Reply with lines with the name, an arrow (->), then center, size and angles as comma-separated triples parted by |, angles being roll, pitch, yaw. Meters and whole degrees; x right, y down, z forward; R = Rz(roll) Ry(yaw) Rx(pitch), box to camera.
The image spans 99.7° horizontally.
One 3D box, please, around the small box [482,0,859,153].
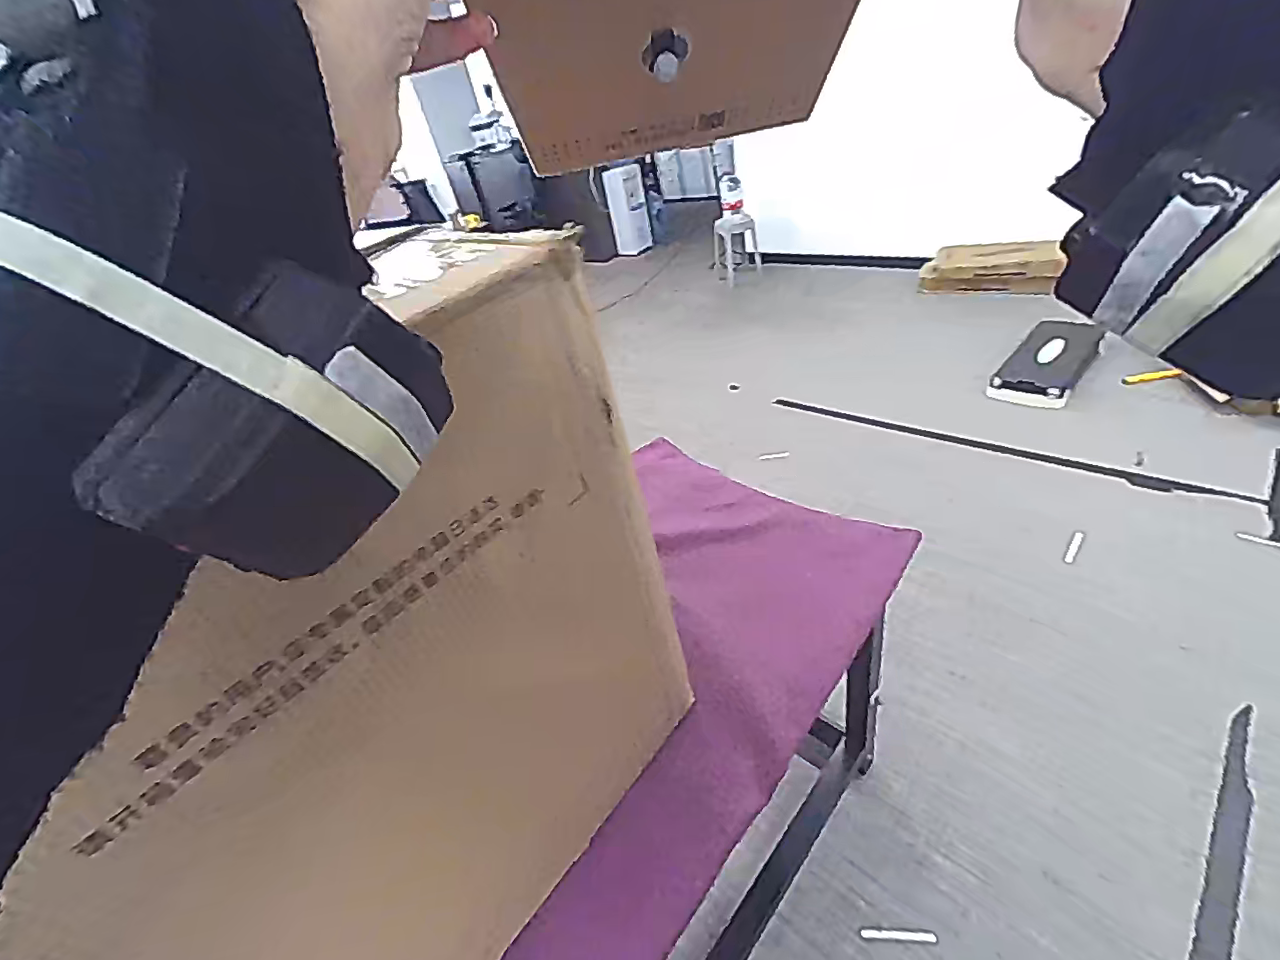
small box -> 0.008, -0.277, 0.239 | 0.168, 0.179, 0.176 | -10, 1, 2
